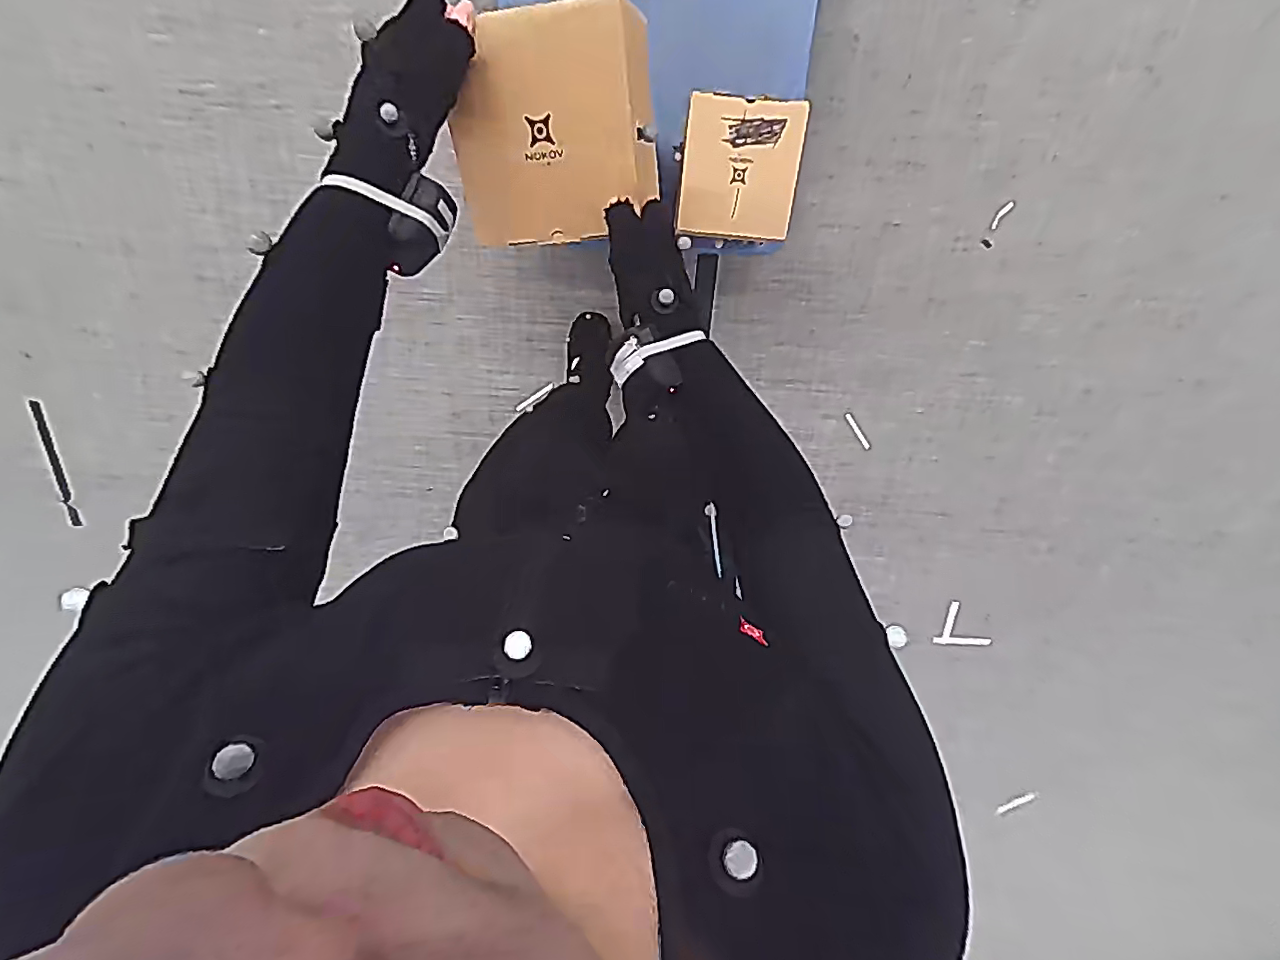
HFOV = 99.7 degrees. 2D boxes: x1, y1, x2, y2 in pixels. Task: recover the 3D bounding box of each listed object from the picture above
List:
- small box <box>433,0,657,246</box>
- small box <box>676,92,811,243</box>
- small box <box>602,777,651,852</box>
[{"bbox_3d":[-0.075,-0.351,0.544,0.168,0.176,0.179,-1,126,9],"label":"small box"},{"bbox_3d":[0.148,-0.474,0.845,0.168,0.176,0.179,5,114,0],"label":"small box"},{"bbox_3d":[-0.046,1.203,1.953,0.168,0.176,0.179,0,114,4],"label":"small box"}]
